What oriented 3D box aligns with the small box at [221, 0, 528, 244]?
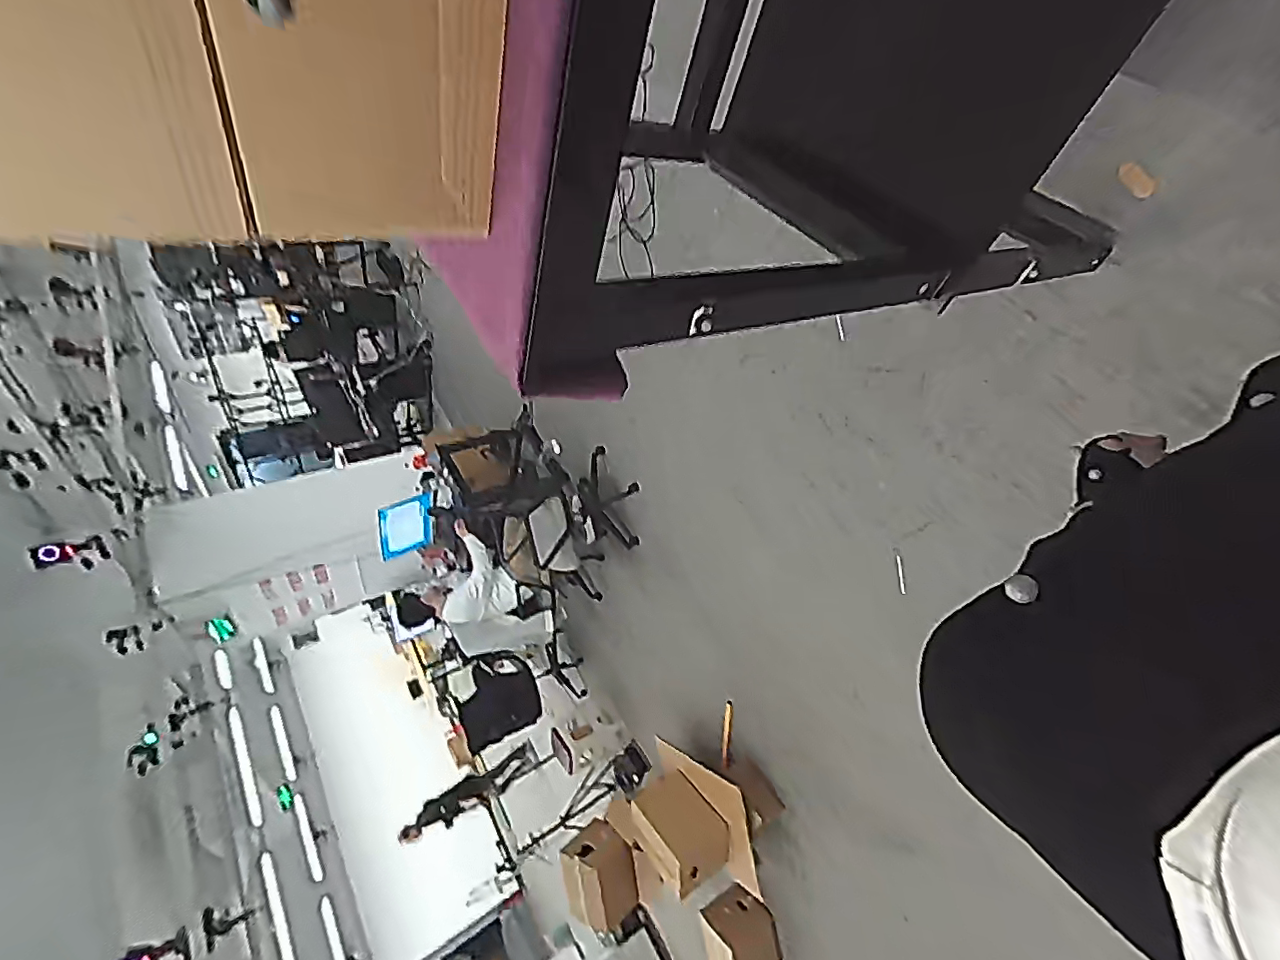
[{"bbox_3d":[-0.197,-0.300,0.405,0.168,0.176,0.179,54,143,28],"label":"small box"}]
